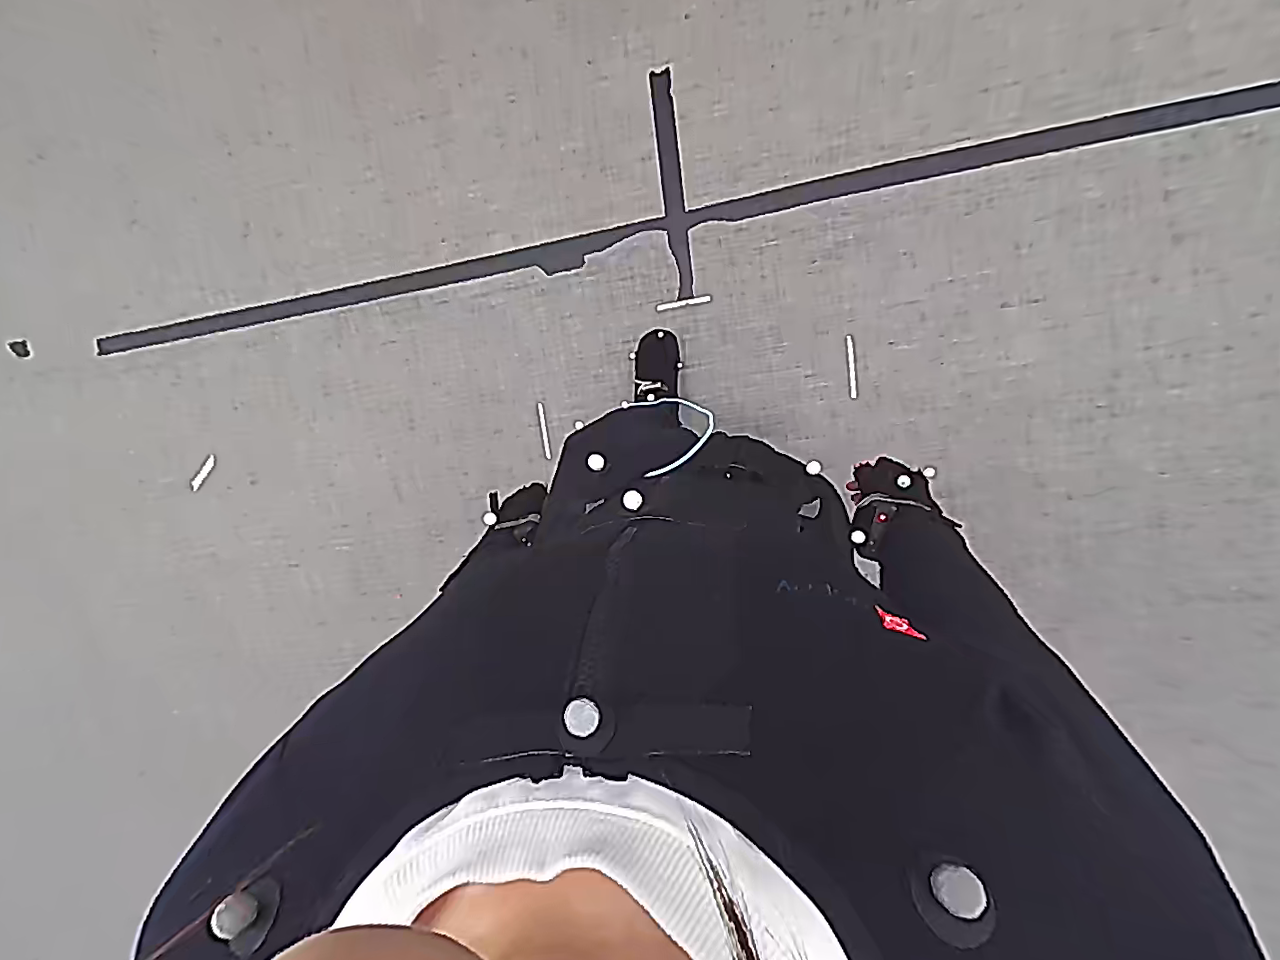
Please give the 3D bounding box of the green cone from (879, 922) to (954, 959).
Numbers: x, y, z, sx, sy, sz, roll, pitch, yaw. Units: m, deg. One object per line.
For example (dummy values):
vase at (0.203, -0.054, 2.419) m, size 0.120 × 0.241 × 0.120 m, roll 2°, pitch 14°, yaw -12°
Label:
green cone at (0.770, 1.379, 1.377) m, size 0.202 × 0.368 × 0.200 m, roll -6°, pitch 99°, yaw 8°
